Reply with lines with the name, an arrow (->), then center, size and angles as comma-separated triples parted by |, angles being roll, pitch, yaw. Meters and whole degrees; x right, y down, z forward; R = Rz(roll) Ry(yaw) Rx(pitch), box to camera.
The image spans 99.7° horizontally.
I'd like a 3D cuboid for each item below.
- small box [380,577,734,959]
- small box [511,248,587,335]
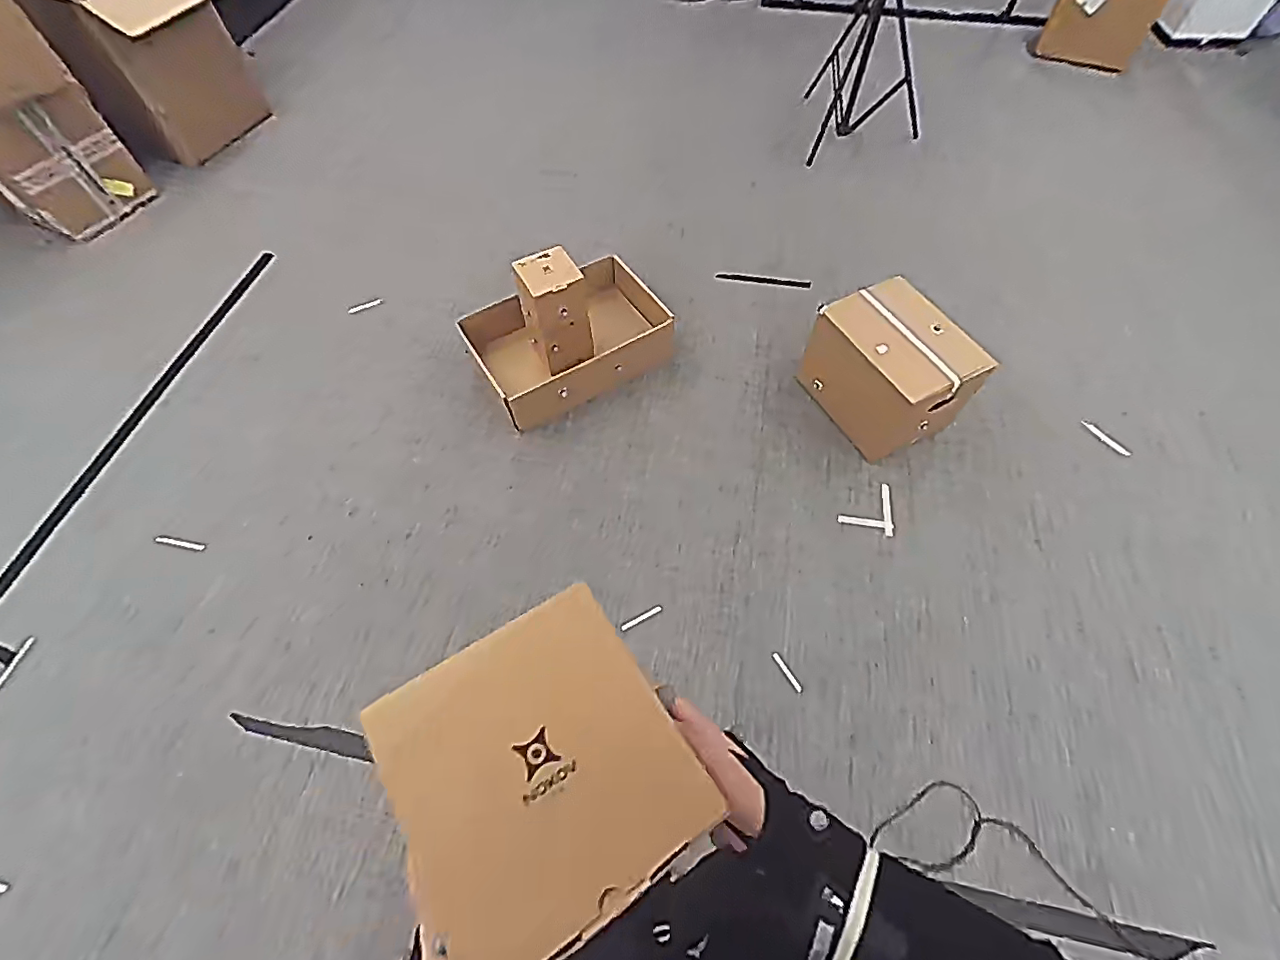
small box -> -0.061, 0.209, 0.403 | 0.168, 0.176, 0.179 | -27, 64, -20
small box -> -0.275, -0.571, 1.661 | 0.168, 0.176, 0.179 | -25, 63, -14
